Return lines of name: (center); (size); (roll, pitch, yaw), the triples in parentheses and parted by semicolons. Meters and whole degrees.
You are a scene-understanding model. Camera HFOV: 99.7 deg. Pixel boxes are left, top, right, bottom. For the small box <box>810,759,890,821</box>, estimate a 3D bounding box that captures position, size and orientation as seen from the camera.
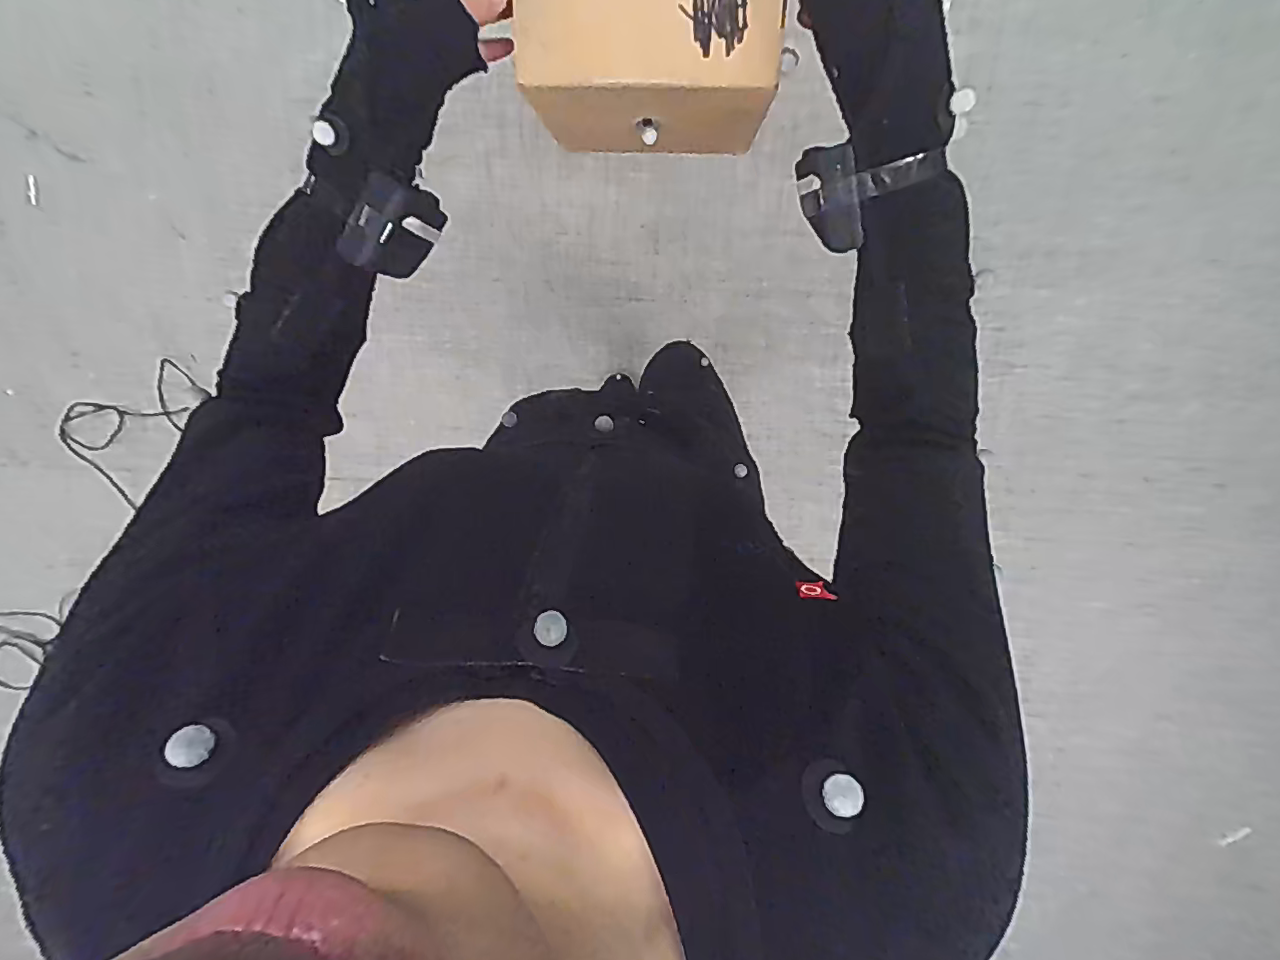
small box: (0.588, 0.915, 1.531); (0.168, 0.176, 0.179); (-3, 100, 1)
